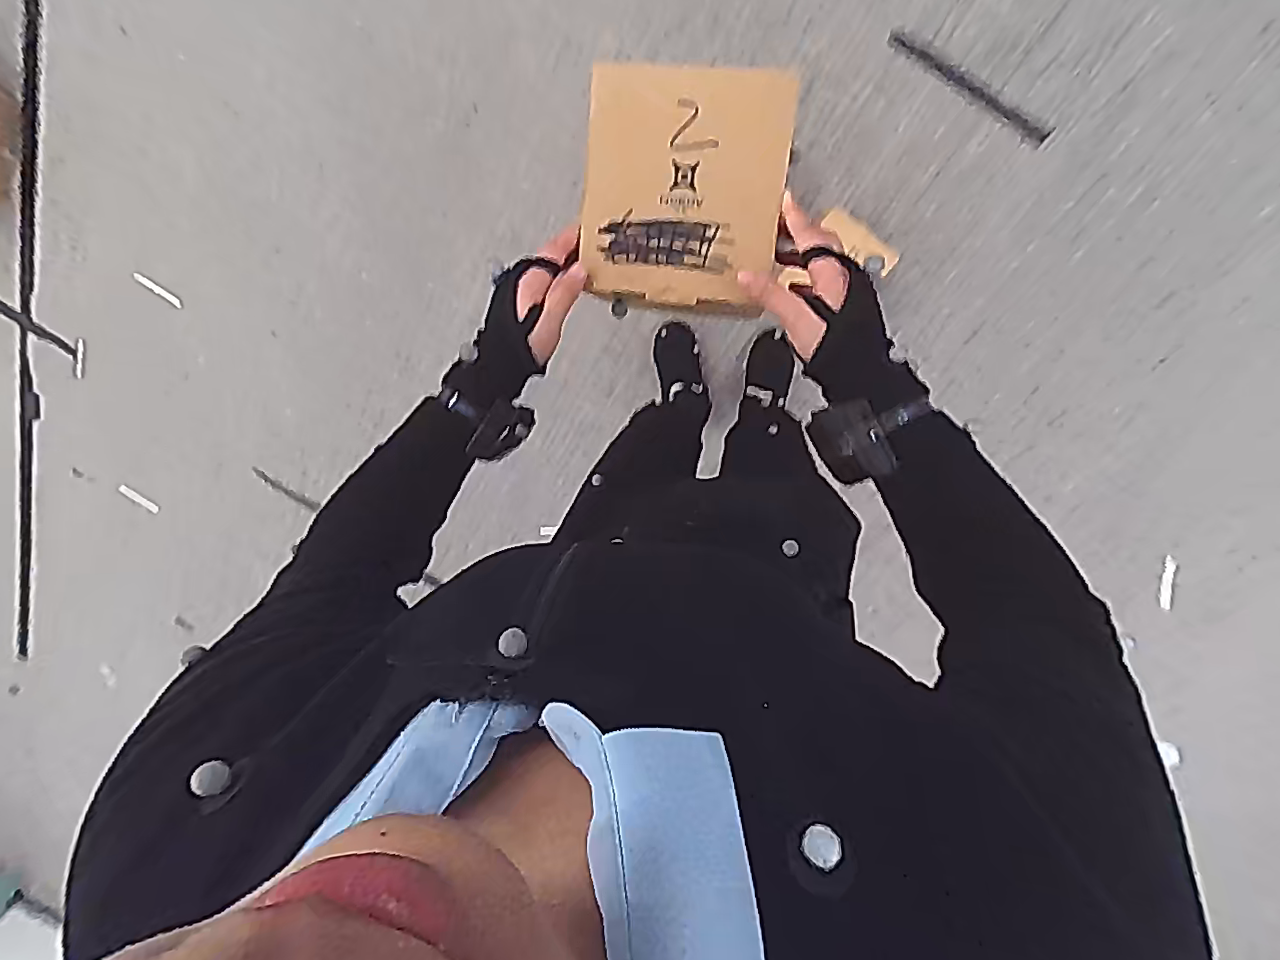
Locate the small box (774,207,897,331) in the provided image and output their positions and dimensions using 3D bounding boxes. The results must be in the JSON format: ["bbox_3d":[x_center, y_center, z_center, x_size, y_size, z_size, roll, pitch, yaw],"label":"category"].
[{"bbox_3d":[0.403,-0.444,1.145,0.168,0.176,0.179,36,115,-5],"label":"small box"}]

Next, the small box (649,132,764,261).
[{"bbox_3d":[0.142,-0.588,1.143,0.168,0.176,0.179,34,115,-3],"label":"small box"}]
